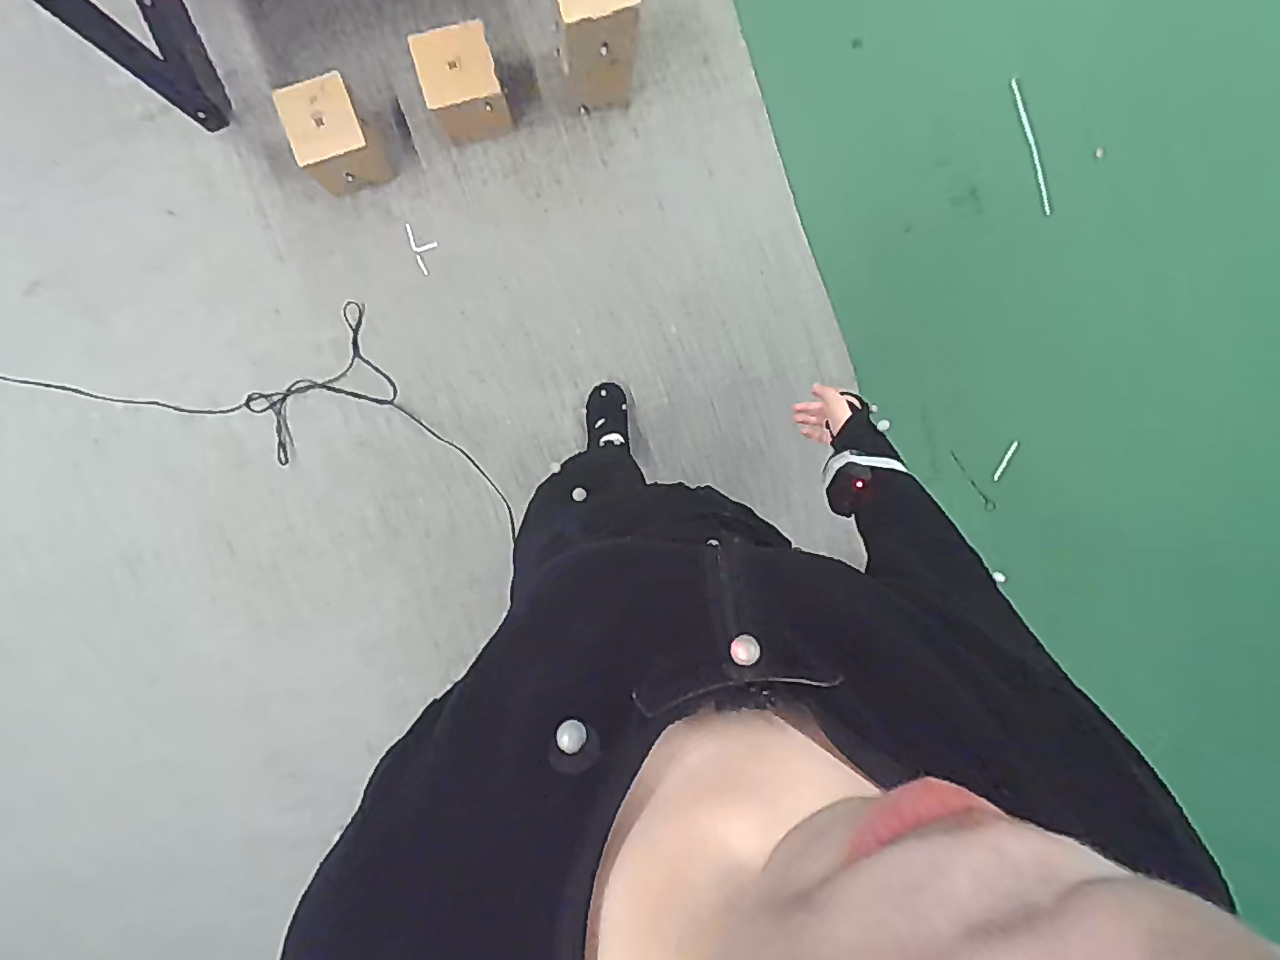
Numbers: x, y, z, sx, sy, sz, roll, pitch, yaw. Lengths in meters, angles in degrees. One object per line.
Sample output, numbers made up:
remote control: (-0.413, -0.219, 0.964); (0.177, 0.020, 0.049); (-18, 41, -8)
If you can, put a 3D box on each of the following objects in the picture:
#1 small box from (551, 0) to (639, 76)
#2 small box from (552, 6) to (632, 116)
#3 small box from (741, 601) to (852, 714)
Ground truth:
small box: (-0.100, -1.018, 1.169); (0.168, 0.176, 0.179); (-15, 95, -1)
small box: (-0.112, -1.035, 1.333); (0.168, 0.176, 0.179); (-11, 93, -1)
small box: (0.358, 0.405, 1.276); (0.168, 0.176, 0.179); (-29, 95, 1)
